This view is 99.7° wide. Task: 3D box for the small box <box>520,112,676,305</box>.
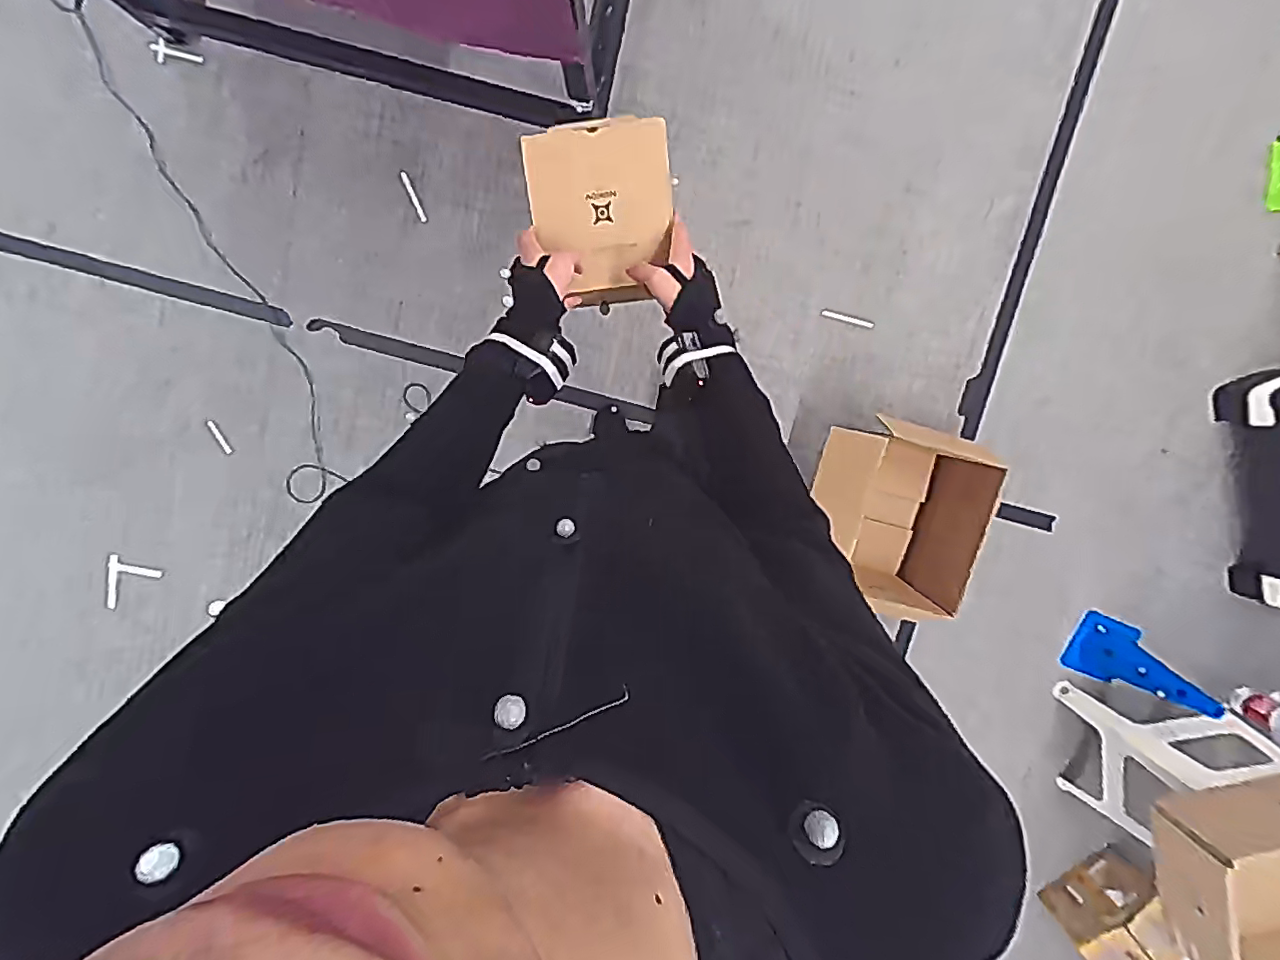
[{"bbox_3d":[-0.047,-0.334,0.699,0.168,0.176,0.179,-6,102,2],"label":"small box"}]
